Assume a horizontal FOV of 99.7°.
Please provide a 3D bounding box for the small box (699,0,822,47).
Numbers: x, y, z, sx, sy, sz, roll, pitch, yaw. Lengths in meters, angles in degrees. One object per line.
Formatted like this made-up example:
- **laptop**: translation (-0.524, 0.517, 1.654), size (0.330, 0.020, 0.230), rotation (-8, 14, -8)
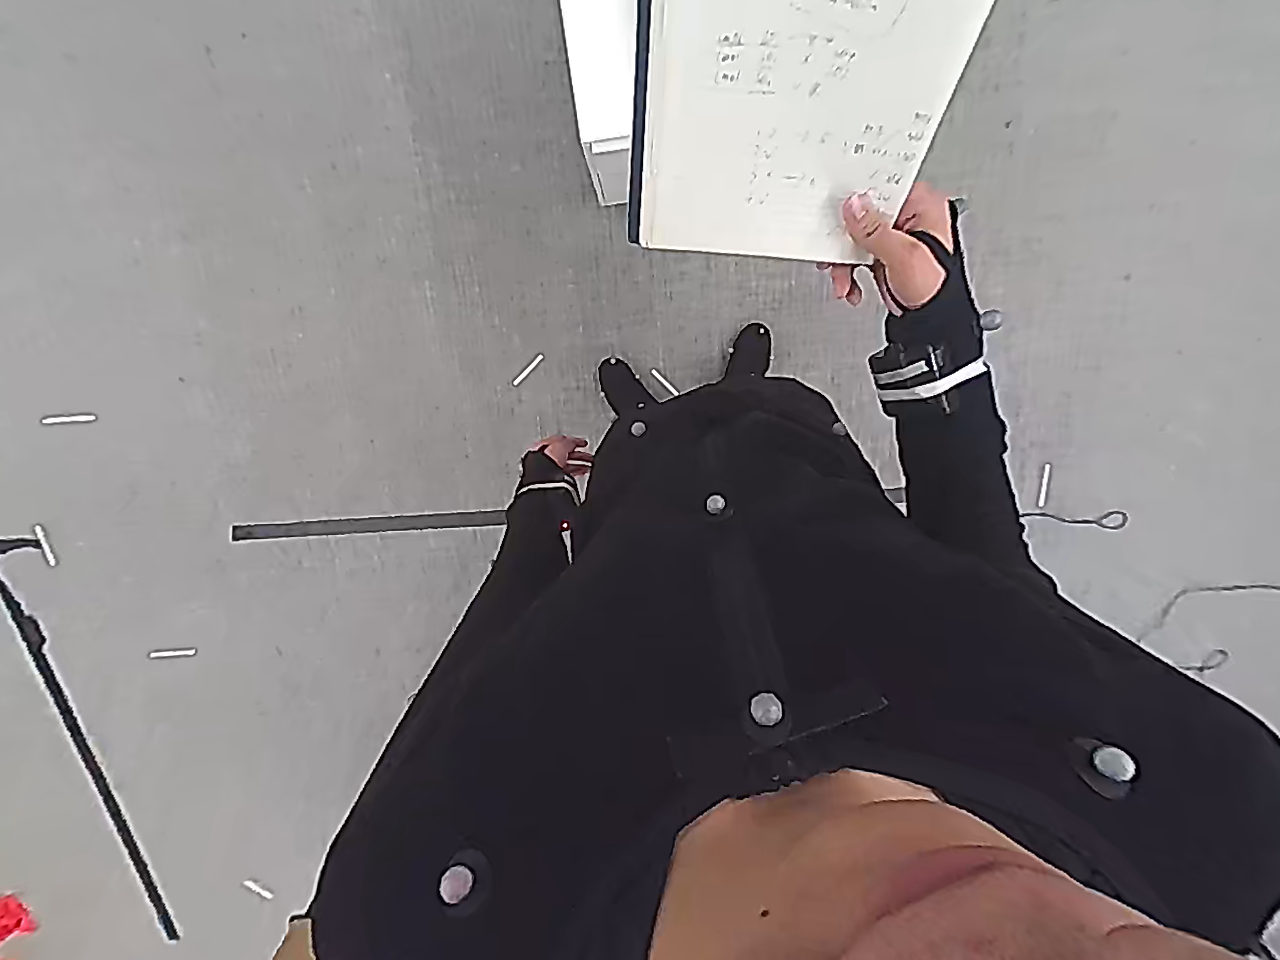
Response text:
- **small box**: translation (0.170, -0.740, 0.732), size (0.179, 0.176, 0.168), rotation (-16, 106, 5)
